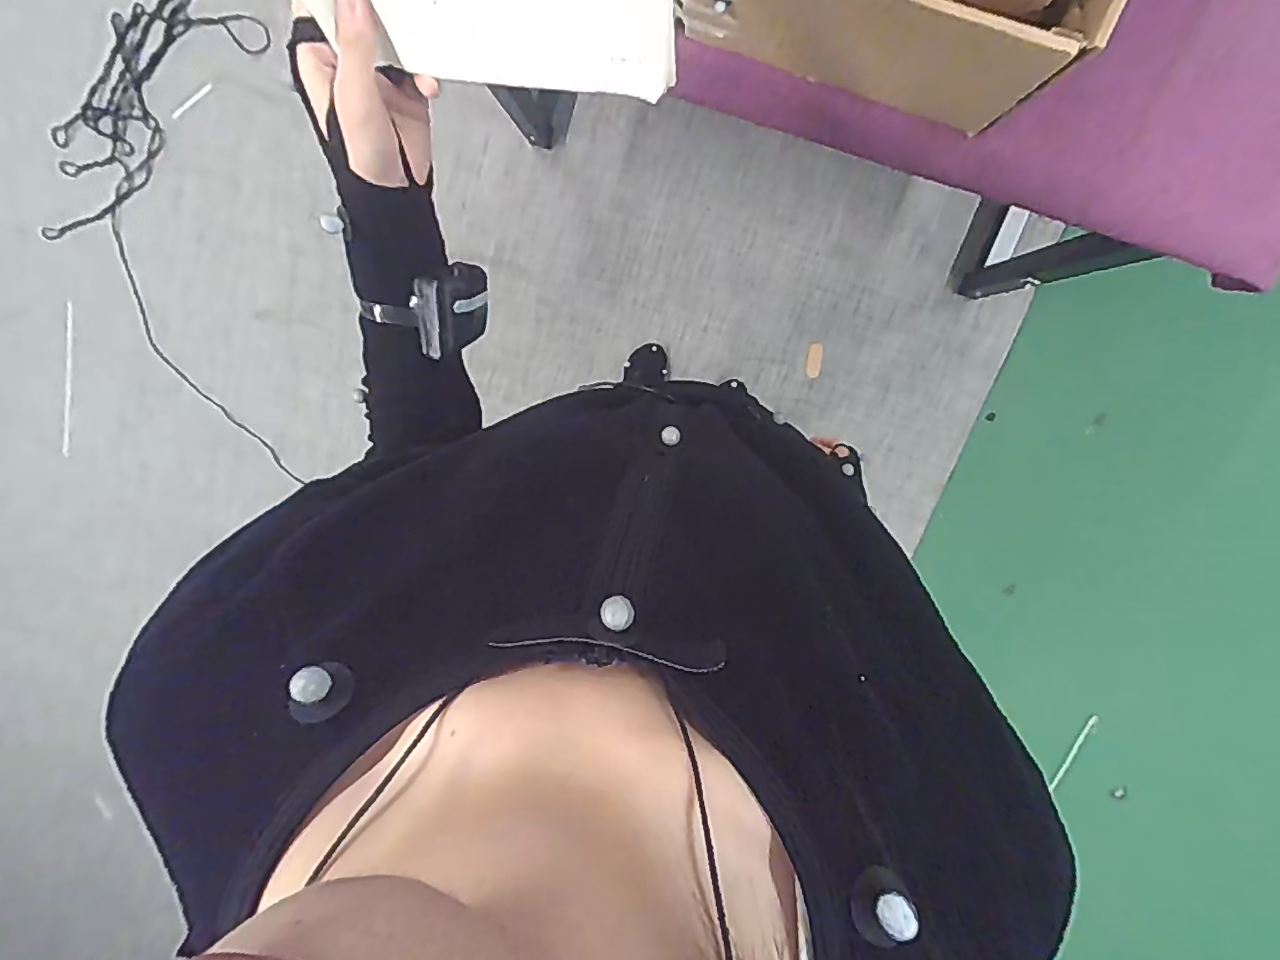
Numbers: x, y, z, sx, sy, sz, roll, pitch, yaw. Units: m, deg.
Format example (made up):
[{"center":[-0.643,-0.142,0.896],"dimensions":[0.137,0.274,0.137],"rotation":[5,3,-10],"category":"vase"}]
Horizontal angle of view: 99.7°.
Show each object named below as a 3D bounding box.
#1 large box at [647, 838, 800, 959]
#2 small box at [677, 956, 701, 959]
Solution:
[{"center":[0.227,1.334,1.608],"dimensions":[0.408,0.320,0.320],"rotation":[4,103,4],"category":"large box"},{"center":[0.163,1.365,1.369],"dimensions":[0.168,0.176,0.179],"rotation":[5,101,5],"category":"small box"}]
